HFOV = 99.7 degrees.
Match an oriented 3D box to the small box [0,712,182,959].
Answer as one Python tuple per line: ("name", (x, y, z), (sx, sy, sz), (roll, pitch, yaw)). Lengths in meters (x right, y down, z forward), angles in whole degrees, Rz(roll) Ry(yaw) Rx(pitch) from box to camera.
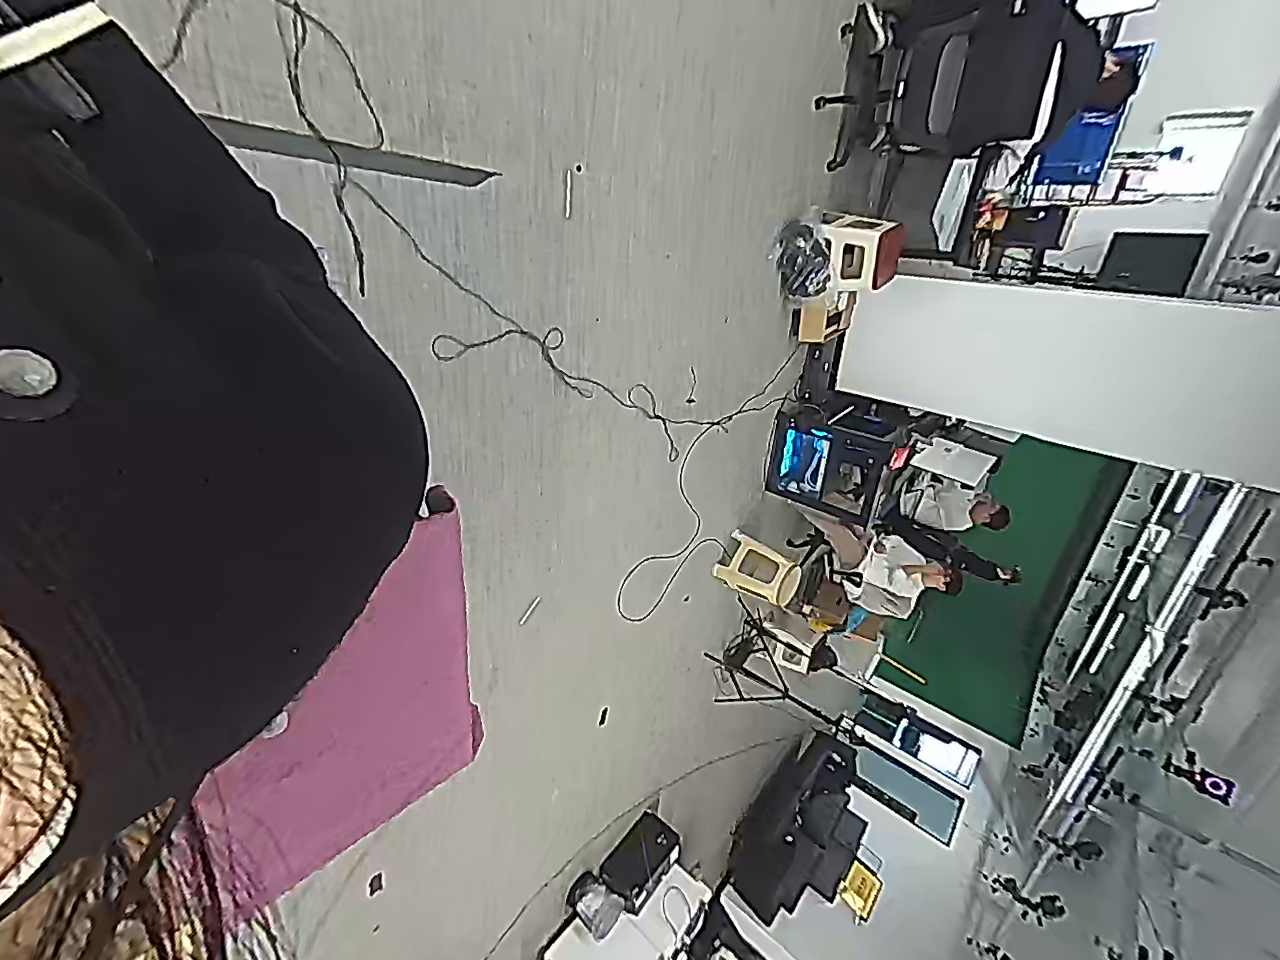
("small box", (-0.643, 0.400, 0.594), (0.168, 0.176, 0.179), (-20, 124, -48))
